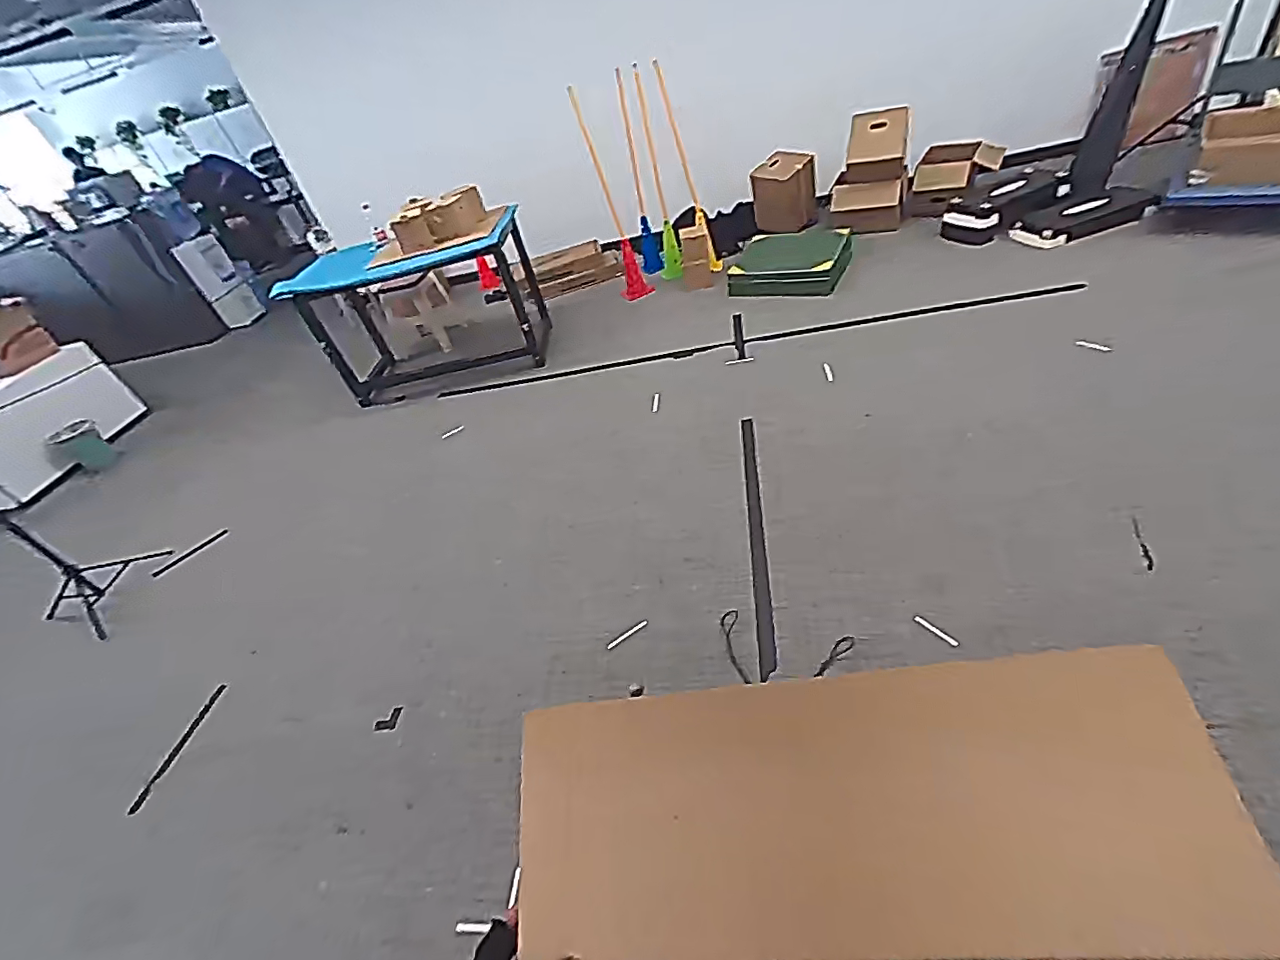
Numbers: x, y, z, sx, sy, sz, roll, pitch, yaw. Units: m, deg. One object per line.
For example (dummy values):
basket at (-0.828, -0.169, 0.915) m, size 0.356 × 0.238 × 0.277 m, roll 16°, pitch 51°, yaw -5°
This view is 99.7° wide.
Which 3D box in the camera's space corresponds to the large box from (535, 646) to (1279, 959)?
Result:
large box at (0.162, 0.338, 0.429) m, size 0.408 × 0.320 × 0.320 m, roll -11°, pitch 64°, yaw 11°
